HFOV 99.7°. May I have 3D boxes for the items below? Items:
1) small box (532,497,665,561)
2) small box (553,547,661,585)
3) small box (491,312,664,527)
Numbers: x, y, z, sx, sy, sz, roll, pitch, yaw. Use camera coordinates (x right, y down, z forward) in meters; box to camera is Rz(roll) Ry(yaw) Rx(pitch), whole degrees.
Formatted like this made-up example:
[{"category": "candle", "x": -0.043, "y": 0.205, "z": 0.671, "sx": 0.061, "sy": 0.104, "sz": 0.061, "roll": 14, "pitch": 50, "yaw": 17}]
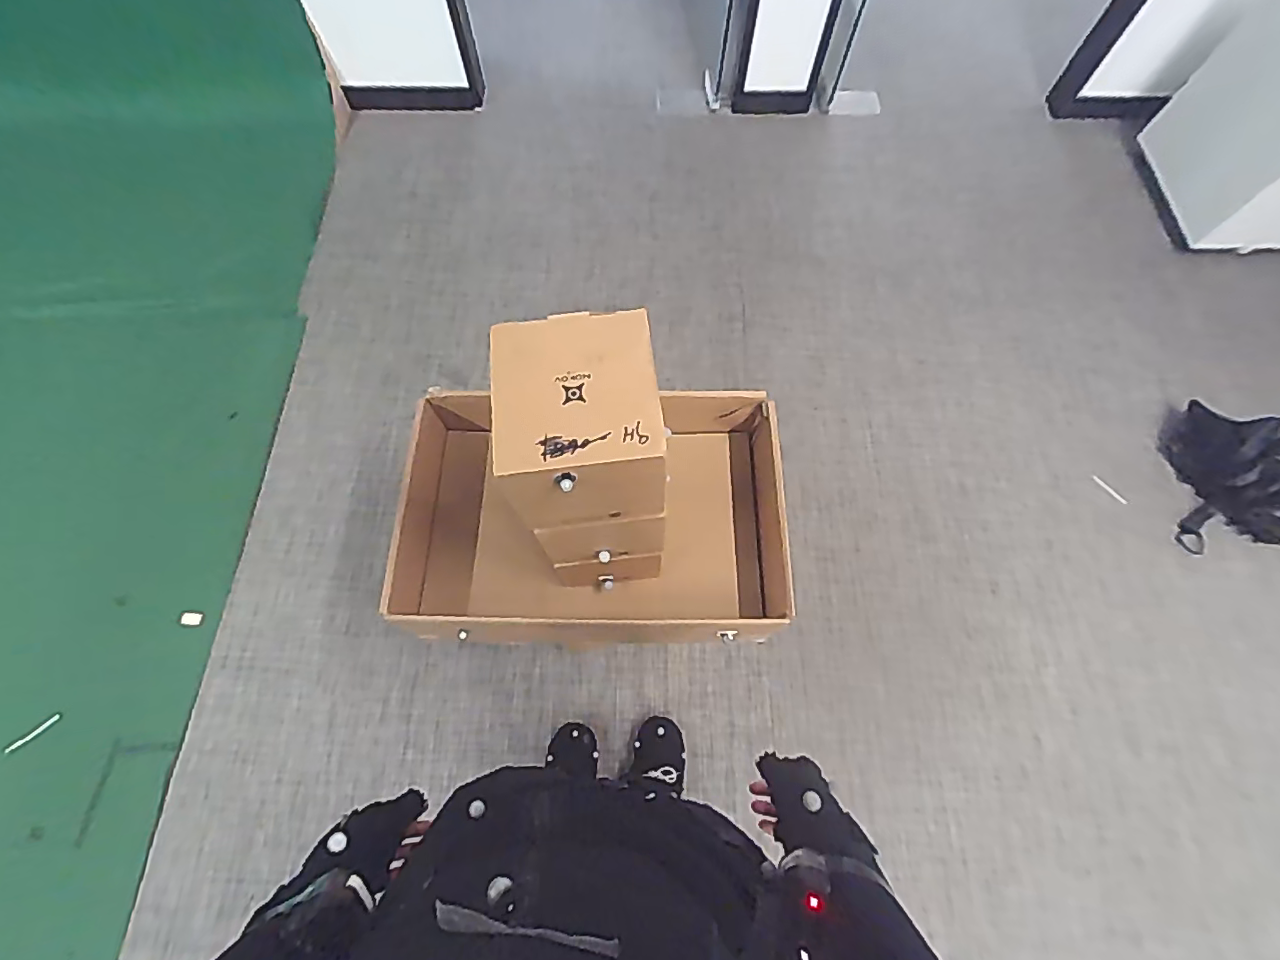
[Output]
[{"category": "small box", "x": -0.058, "y": 0.004, "z": 0.766, "sx": 0.168, "sy": 0.176, "sz": 0.179, "roll": -7, "pitch": 68, "yaw": -1}, {"category": "small box", "x": -0.057, "y": 0.069, "z": 0.916, "sx": 0.168, "sy": 0.176, "sz": 0.179, "roll": -6, "pitch": 68, "yaw": -1}, {"category": "small box", "x": -0.065, "y": -0.061, "z": 0.616, "sx": 0.168, "sy": 0.176, "sz": 0.179, "roll": -7, "pitch": 66, "yaw": 0}]
